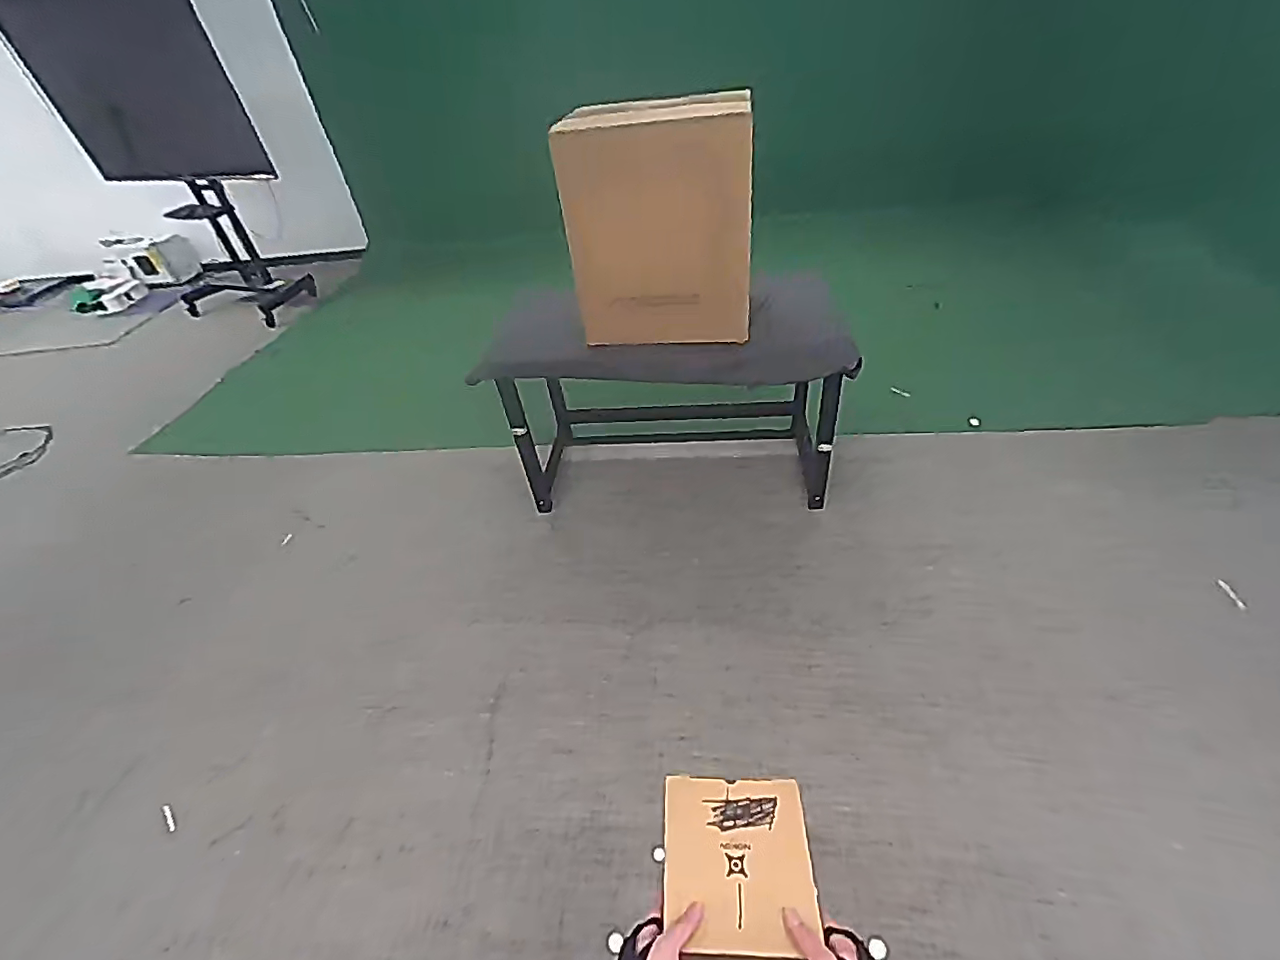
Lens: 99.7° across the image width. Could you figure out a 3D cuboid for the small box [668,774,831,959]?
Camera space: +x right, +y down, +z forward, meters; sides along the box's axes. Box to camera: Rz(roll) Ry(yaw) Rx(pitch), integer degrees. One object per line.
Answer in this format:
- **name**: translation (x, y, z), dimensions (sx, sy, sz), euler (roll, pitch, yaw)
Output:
- **small box**: translation (0.120, 0.489, 0.653), dimensions (0.168, 0.176, 0.179), euler (0, 36, 6)
